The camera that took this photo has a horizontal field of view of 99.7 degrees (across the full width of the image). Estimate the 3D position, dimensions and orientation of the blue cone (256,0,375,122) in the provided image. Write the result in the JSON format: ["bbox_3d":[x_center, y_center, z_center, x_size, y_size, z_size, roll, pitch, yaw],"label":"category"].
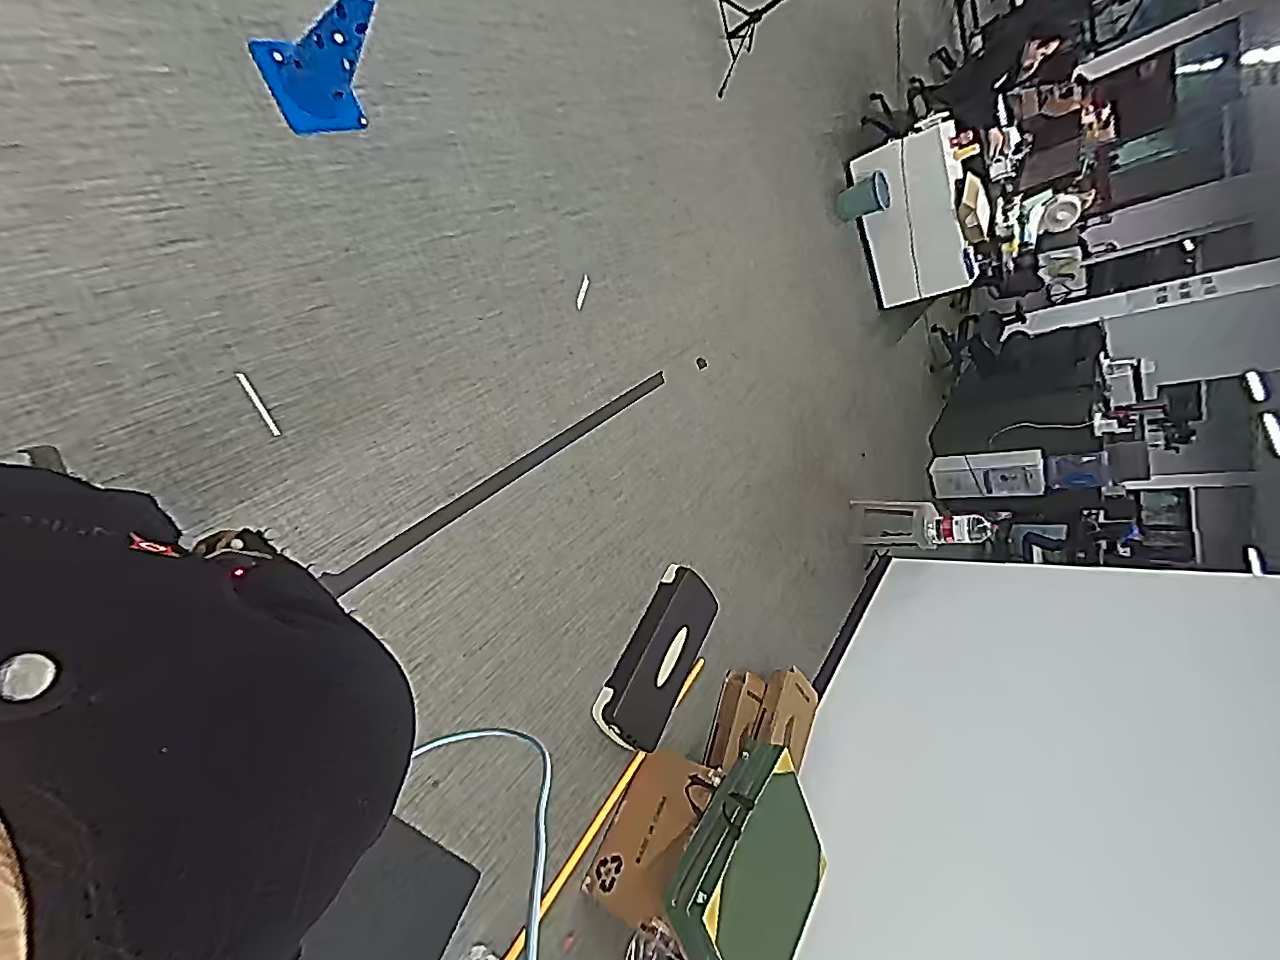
[{"bbox_3d":[-0.672,-0.976,1.190,0.192,0.380,0.193,-38,114,-42],"label":"blue cone"}]
